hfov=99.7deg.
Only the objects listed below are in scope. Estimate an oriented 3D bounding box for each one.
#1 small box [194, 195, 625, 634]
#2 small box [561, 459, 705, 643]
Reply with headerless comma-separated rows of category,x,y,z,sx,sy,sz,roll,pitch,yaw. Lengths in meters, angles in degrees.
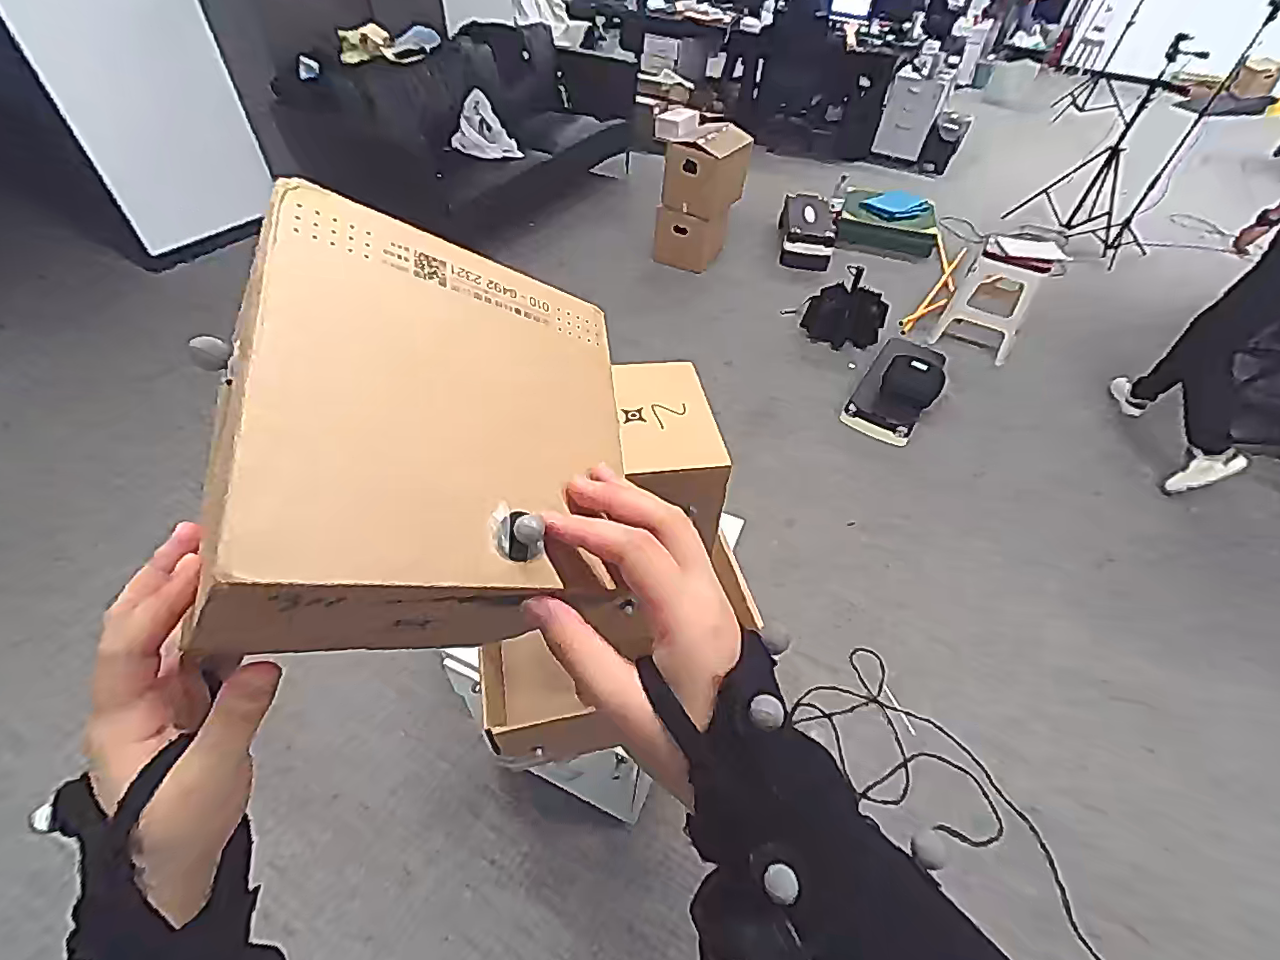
small box,-0.129,-0.011,0.309,0.168,0.179,0.176,11,62,-40
small box,-0.026,0.096,0.728,0.179,0.176,0.168,-8,47,-9
